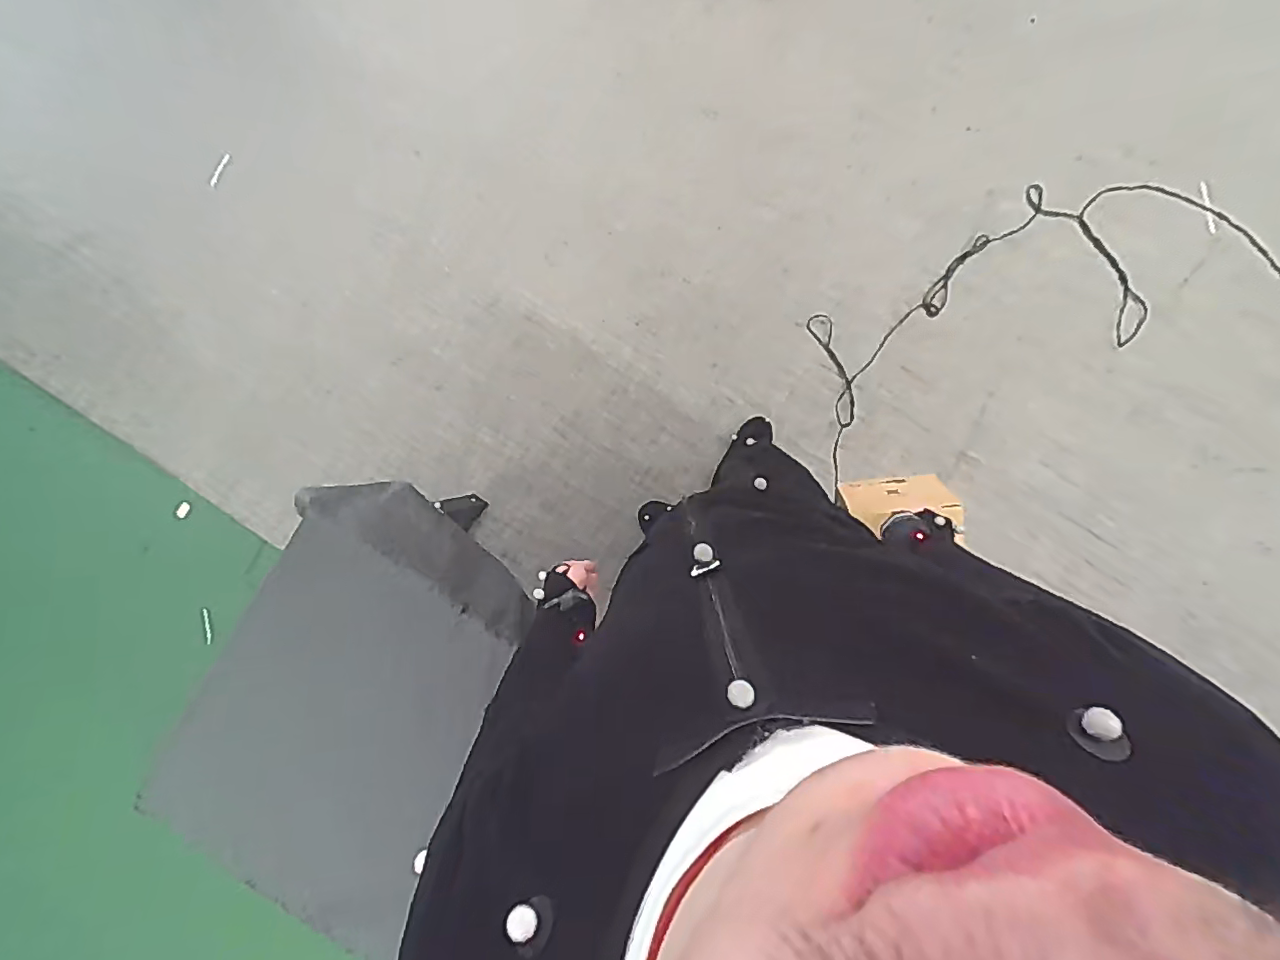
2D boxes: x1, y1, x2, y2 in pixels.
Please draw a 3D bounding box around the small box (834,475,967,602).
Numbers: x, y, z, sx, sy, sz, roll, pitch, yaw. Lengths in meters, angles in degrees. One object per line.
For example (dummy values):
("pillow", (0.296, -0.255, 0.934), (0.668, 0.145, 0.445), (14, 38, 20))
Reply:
("small box", (0.447, 0.103, 0.942), (0.168, 0.179, 0.176), (-9, 102, 12))
